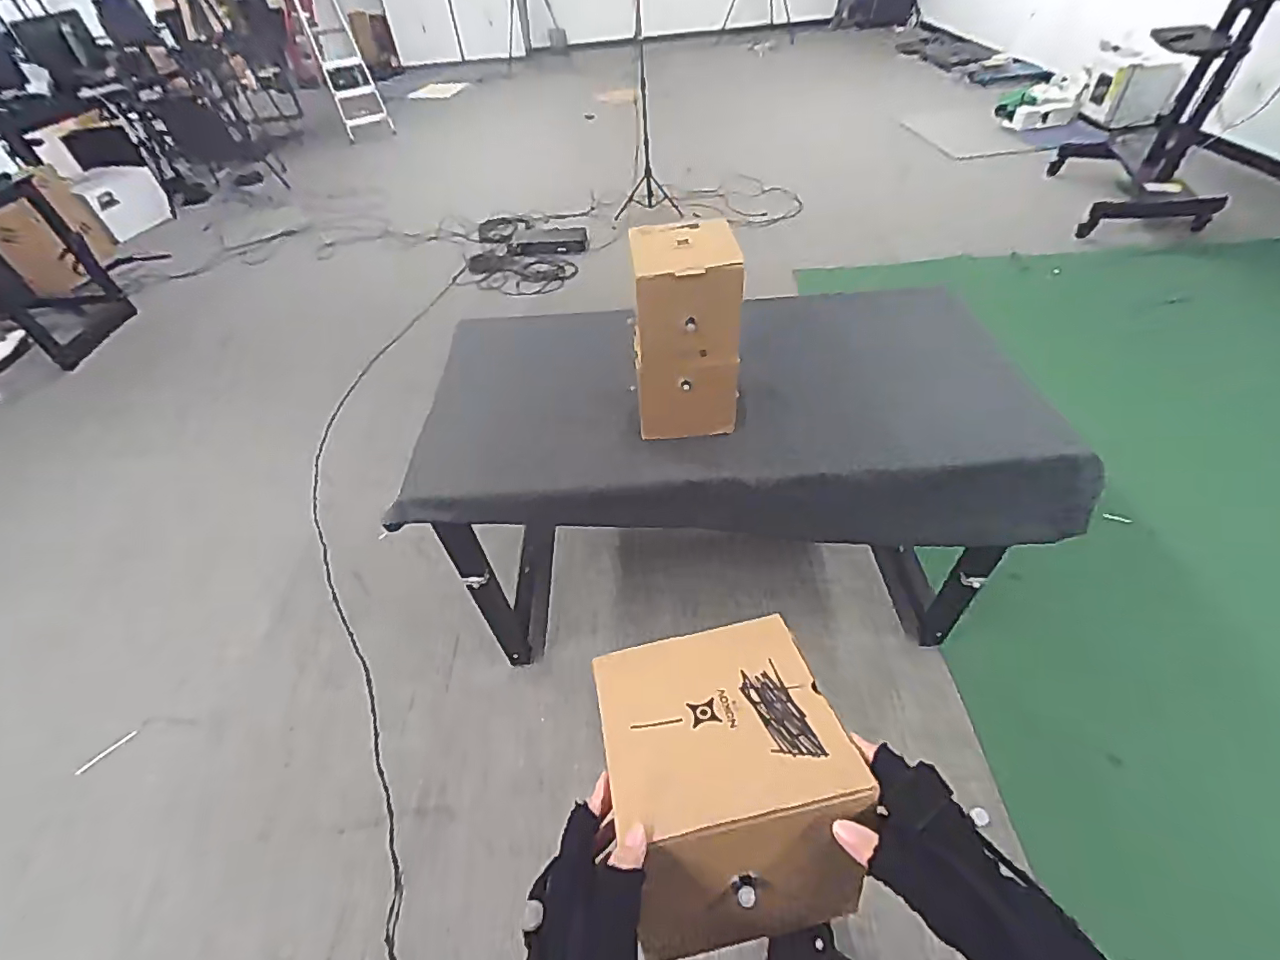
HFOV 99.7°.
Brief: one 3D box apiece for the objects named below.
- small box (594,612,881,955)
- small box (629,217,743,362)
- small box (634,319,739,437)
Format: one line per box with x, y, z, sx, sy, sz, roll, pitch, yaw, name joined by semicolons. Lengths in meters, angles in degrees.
0.065;0.242;0.451;0.179;0.176;0.168;-11;30;-9;small box
0.073;-0.310;0.899;0.168;0.176;0.179;-5;48;1;small box
0.084;-0.195;1.015;0.179;0.176;0.168;-4;48;1;small box
